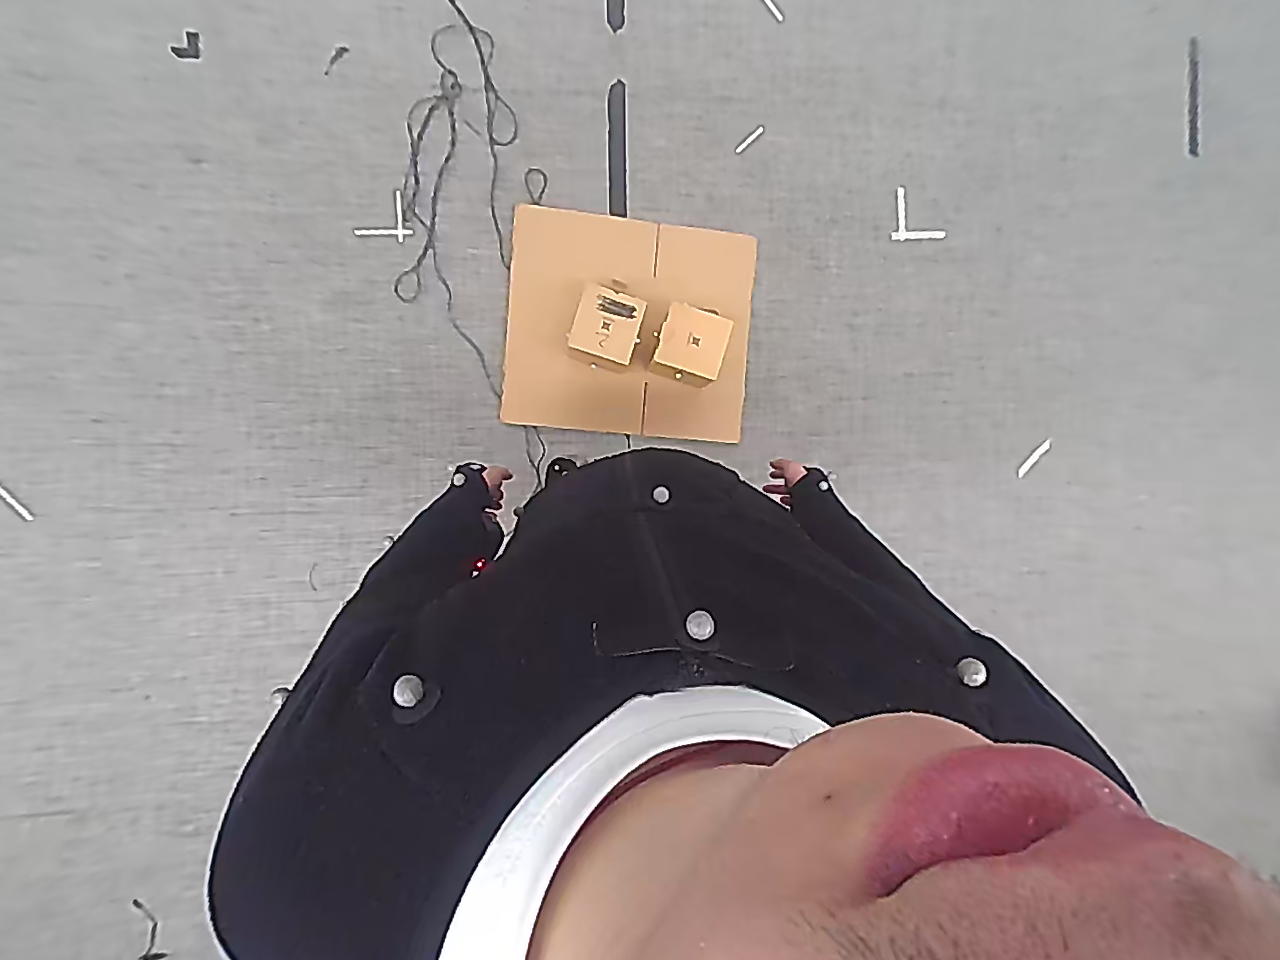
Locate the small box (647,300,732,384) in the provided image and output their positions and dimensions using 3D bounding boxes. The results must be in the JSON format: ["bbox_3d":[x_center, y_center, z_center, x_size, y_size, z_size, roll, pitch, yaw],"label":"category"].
[{"bbox_3d":[0.131,-0.373,1.502,0.179,0.176,0.168,17,91,-6],"label":"small box"}]
